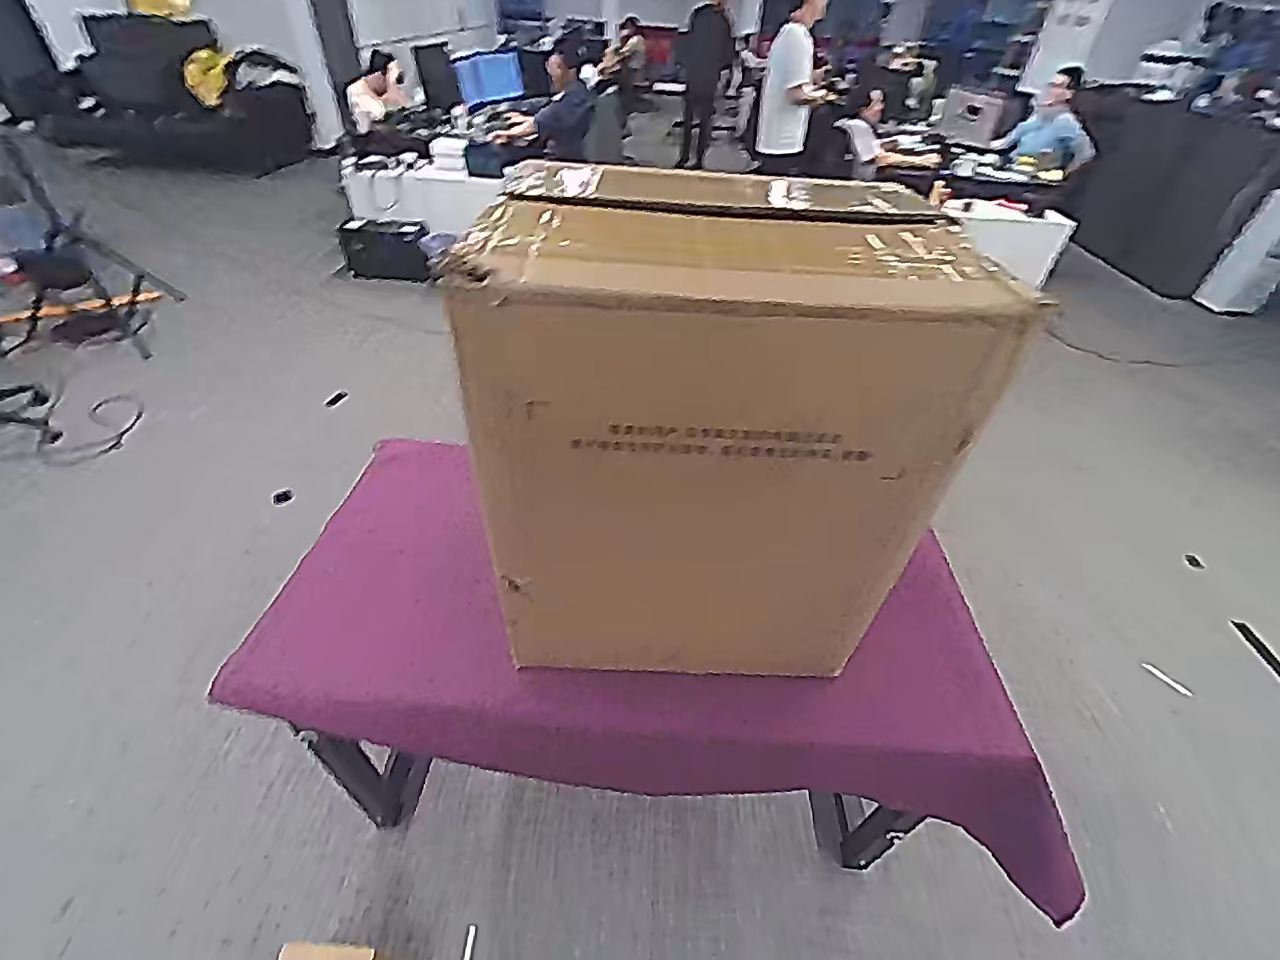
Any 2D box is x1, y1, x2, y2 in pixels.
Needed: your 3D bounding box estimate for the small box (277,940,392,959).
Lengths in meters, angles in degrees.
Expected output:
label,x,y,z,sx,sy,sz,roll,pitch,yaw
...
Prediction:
label,x,y,z,sx,sy,sz,roll,pitch,yaw
small box,-0.591,0.987,1.010,0.179,0.176,0.168,5,42,-1
